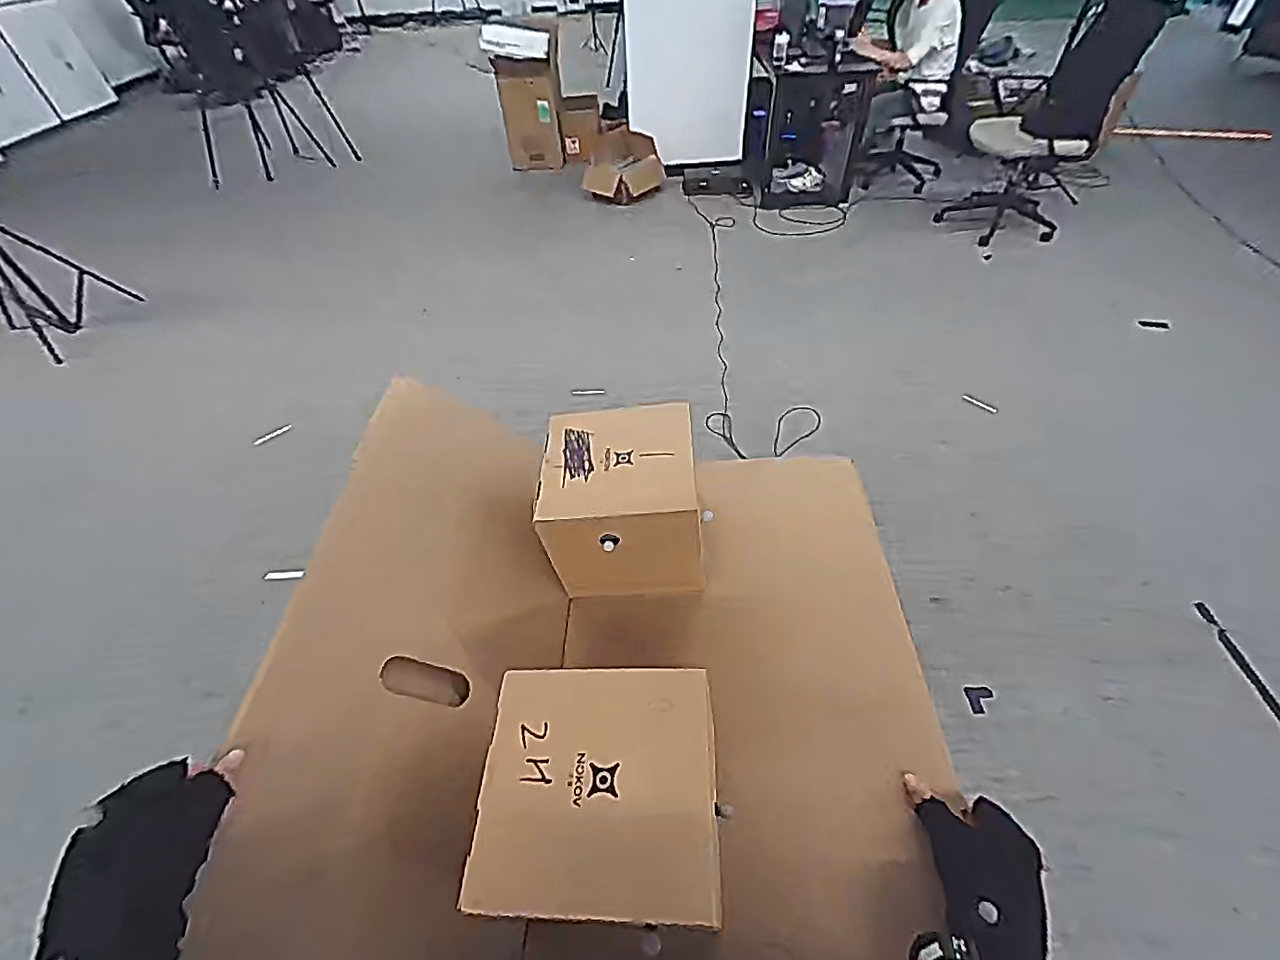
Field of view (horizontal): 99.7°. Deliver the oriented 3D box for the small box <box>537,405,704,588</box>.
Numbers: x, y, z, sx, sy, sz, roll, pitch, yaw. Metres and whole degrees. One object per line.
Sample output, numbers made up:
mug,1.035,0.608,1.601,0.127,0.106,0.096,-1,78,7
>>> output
small box,-0.014,0.027,0.688,0.179,0.176,0.168,-4,50,6
